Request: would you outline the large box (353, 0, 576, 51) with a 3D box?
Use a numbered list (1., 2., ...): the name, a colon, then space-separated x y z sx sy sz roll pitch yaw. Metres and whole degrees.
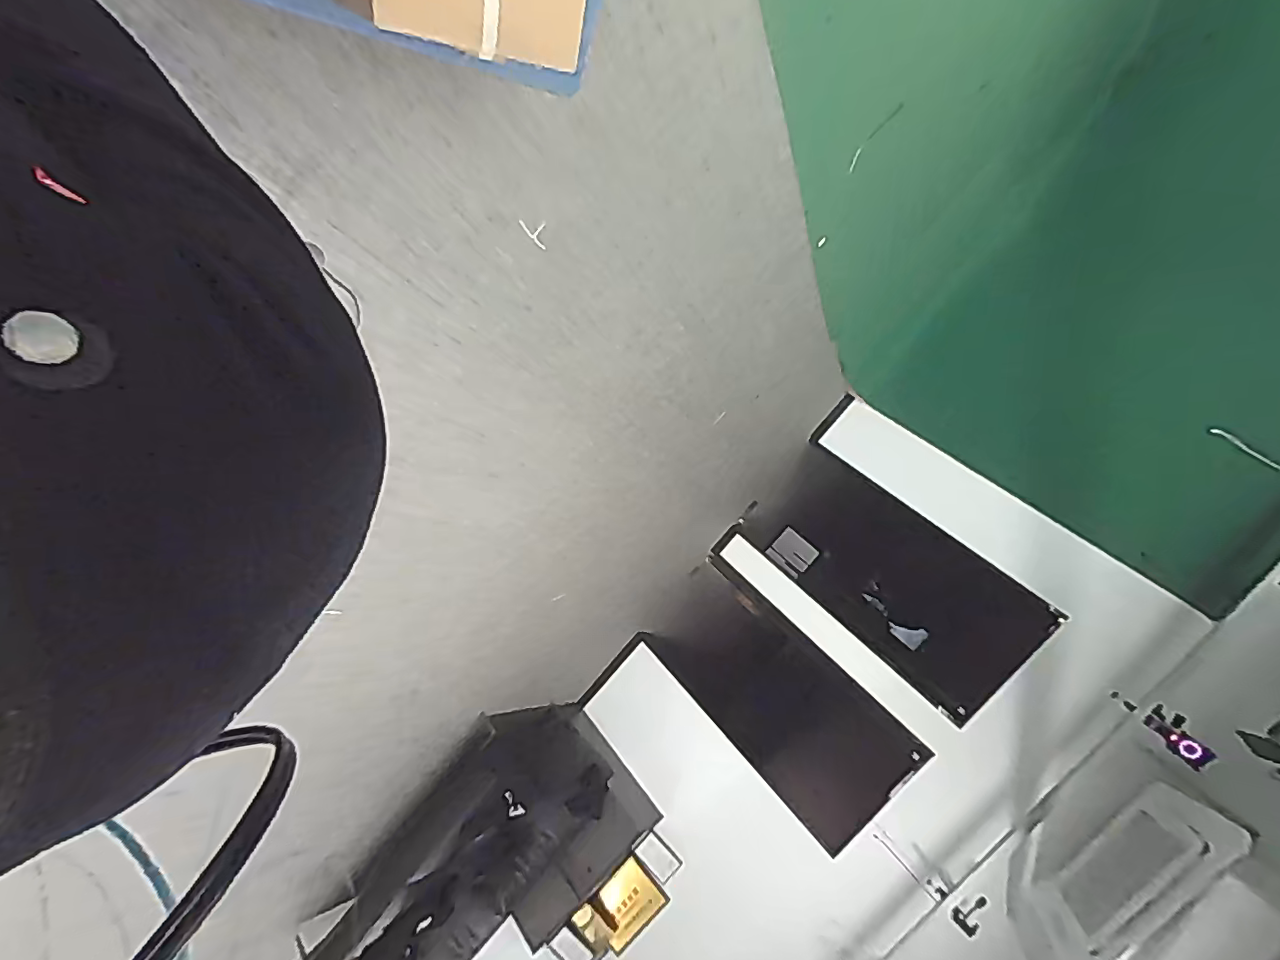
1. large box: -0.276 -0.908 0.767 0.320 0.320 0.408 -15 138 -33
